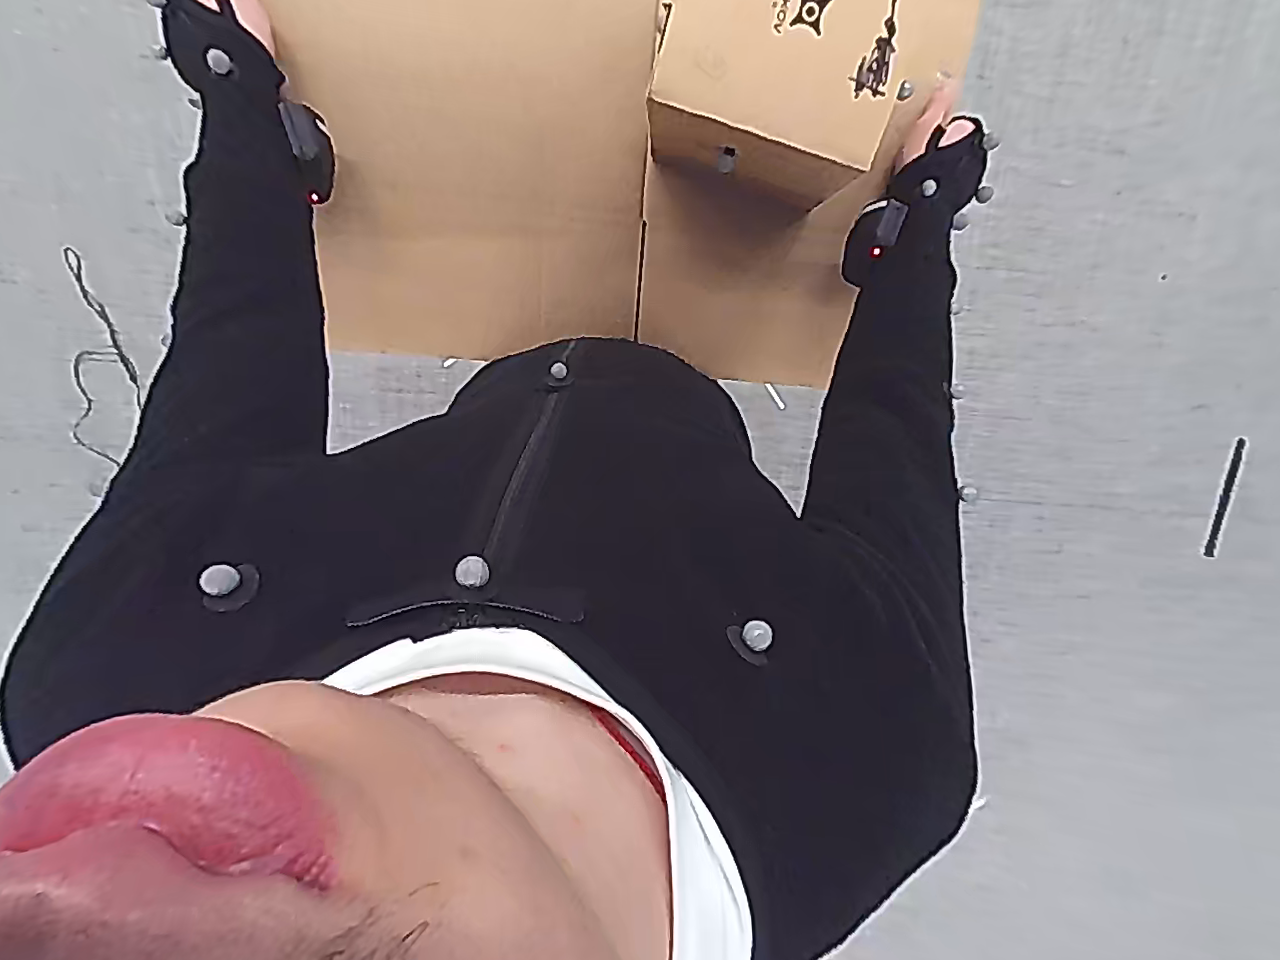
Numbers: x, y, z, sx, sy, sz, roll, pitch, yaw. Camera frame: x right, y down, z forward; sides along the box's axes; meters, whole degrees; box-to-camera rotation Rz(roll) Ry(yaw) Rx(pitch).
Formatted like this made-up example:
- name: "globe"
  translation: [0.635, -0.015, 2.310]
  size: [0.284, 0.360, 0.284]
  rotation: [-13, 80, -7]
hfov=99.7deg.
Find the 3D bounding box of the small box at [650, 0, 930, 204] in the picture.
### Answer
- name: "small box"
  translation: [0.117, -0.356, 0.461]
  size: [0.179, 0.176, 0.168]
  rotation: [17, 107, -2]
